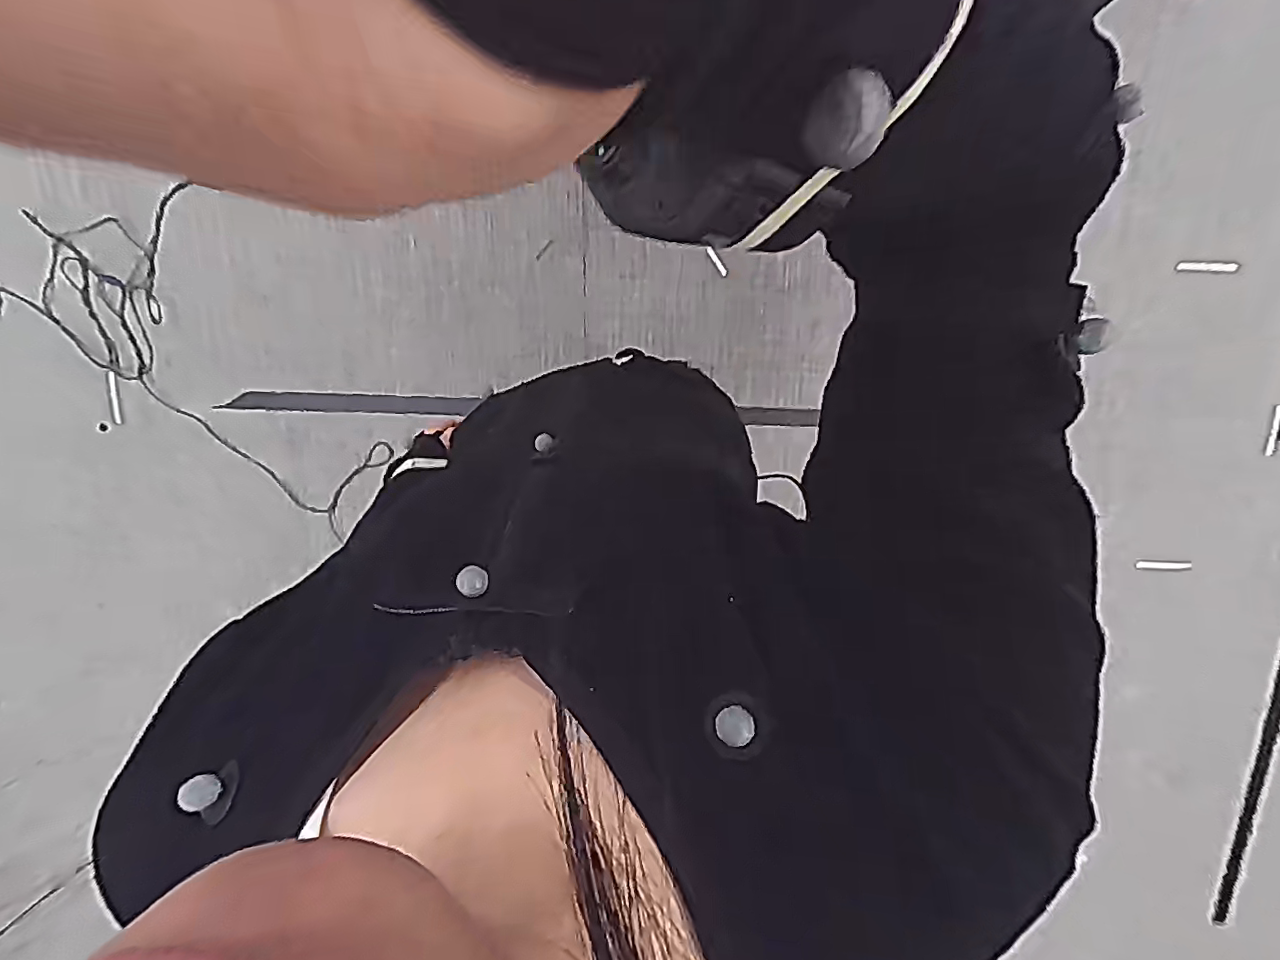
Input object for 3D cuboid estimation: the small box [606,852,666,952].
[{"bbox_3d":[-0.013,1.269,1.636,0.168,0.176,0.179,3,101,1],"label":"small box"}]
